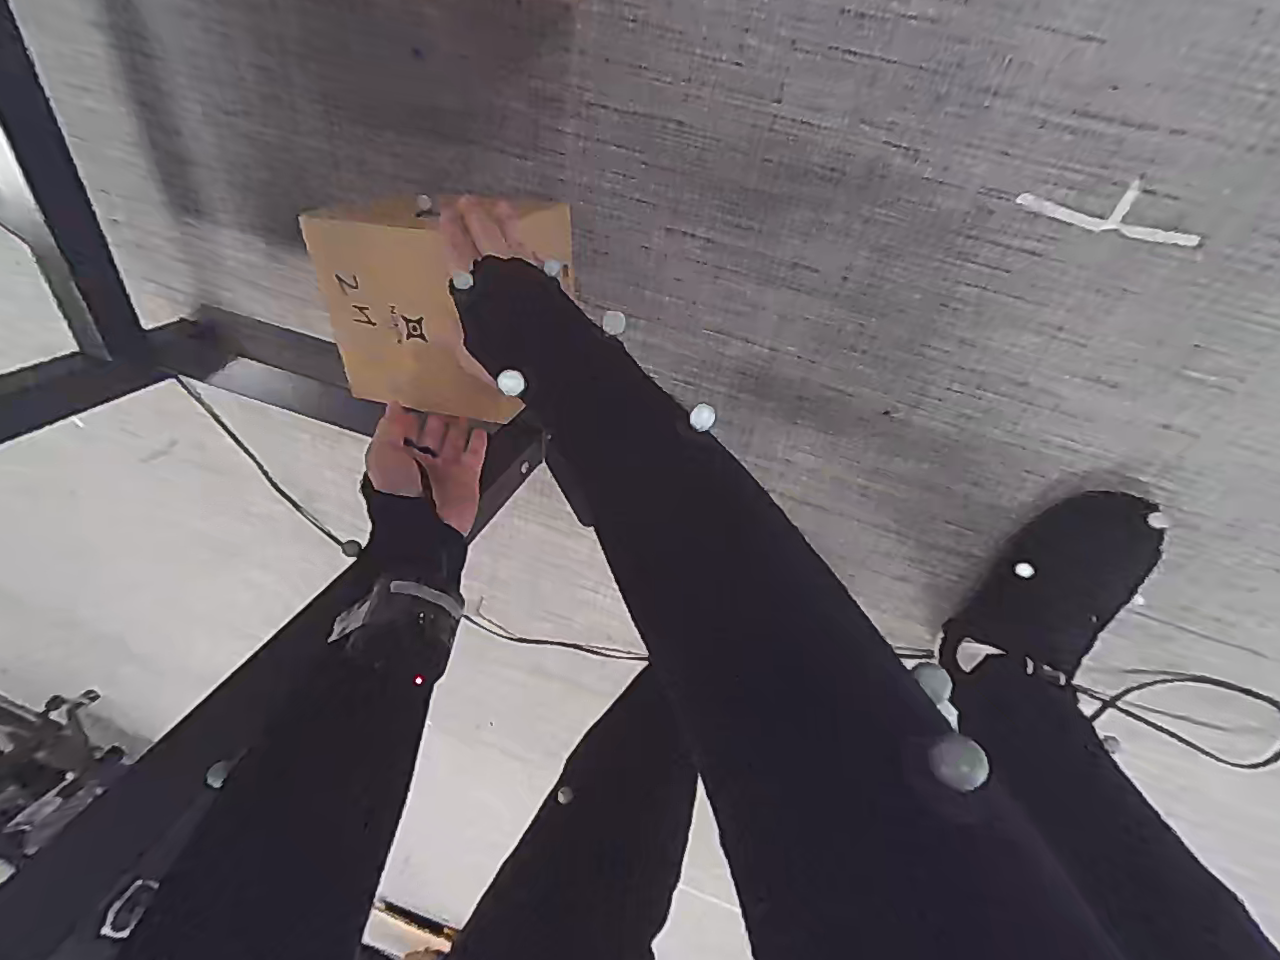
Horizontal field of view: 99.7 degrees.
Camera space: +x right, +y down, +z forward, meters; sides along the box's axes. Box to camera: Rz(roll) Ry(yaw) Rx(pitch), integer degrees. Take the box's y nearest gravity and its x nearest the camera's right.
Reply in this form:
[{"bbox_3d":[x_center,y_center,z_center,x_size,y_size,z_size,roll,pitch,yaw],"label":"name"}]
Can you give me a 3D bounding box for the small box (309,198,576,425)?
[{"bbox_3d":[-0.169,-0.175,0.531,0.179,0.176,0.168,12,124,14],"label":"small box"}]
